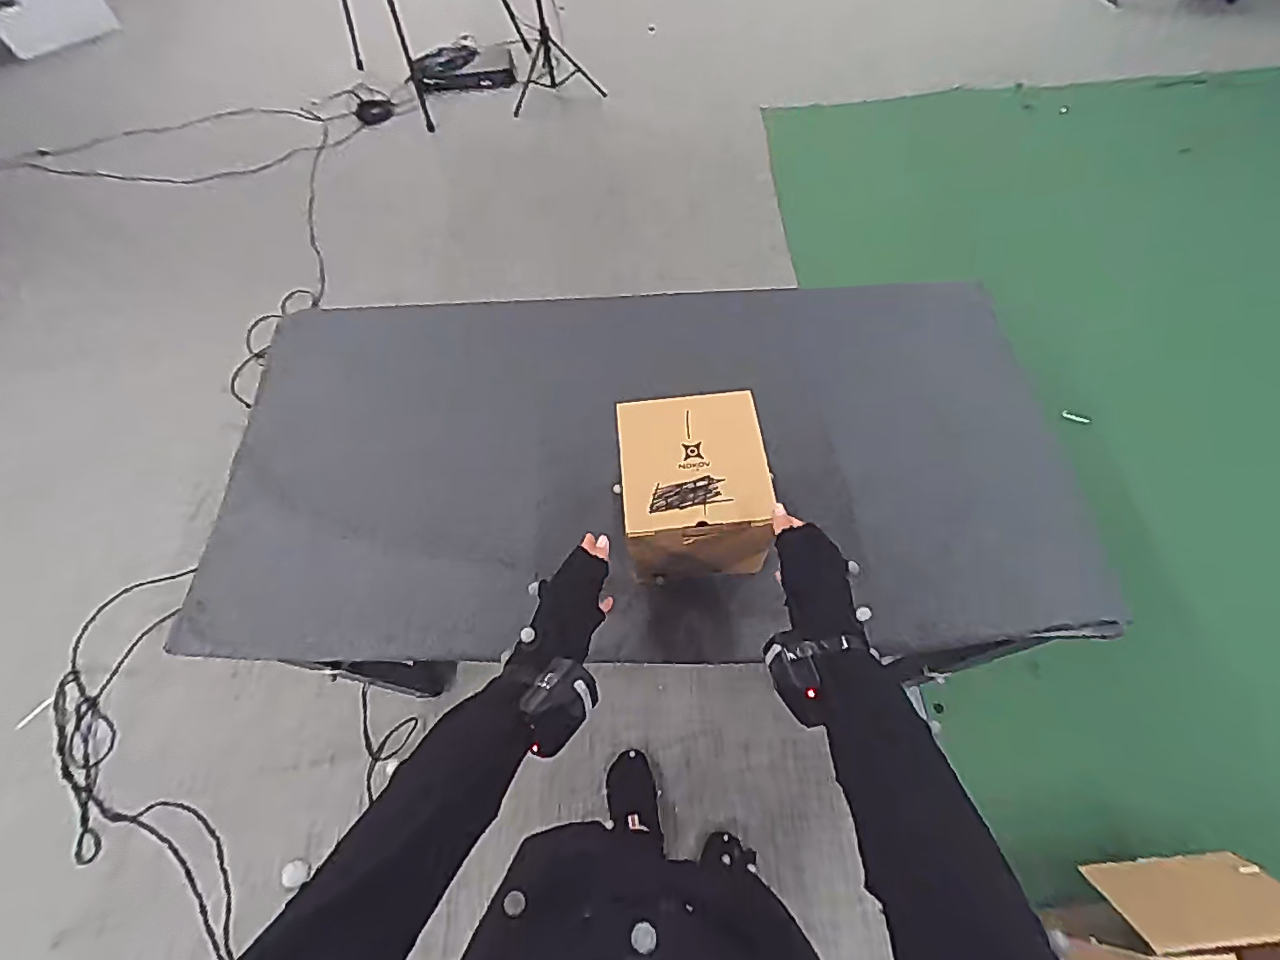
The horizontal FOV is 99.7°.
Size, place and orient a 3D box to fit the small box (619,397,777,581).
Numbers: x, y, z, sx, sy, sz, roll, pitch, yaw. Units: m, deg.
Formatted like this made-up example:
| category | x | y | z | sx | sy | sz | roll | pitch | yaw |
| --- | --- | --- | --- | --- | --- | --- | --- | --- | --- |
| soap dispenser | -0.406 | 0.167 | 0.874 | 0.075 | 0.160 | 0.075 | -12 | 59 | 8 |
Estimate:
| category | x | y | z | sx | sy | sz | roll | pitch | yaw |
| --- | --- | --- | --- | --- | --- | --- | --- | --- | --- |
| small box | 0.066 | 0.021 | 0.682 | 0.168 | 0.176 | 0.179 | -5 | 60 | 1 |
